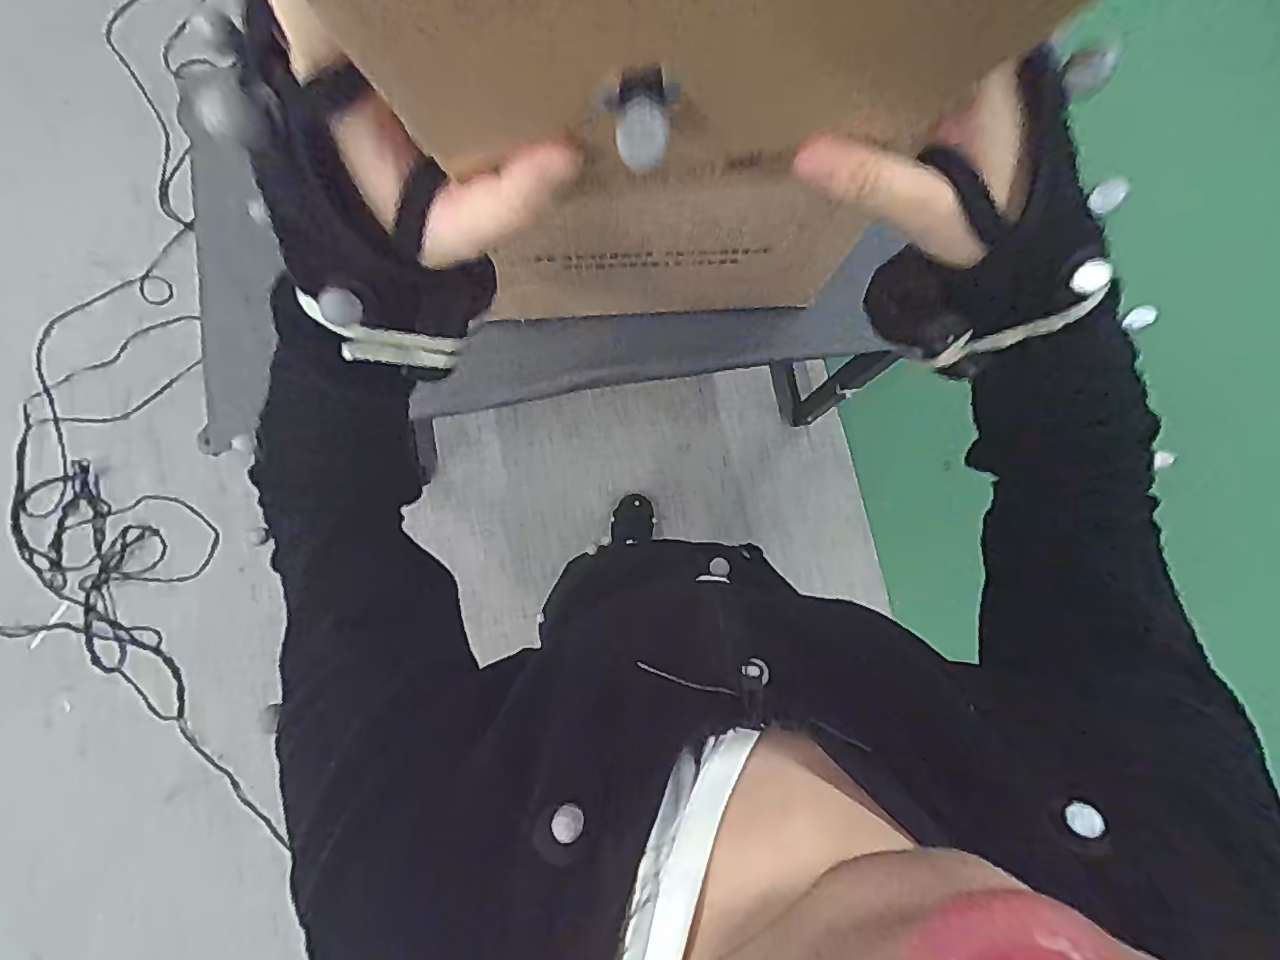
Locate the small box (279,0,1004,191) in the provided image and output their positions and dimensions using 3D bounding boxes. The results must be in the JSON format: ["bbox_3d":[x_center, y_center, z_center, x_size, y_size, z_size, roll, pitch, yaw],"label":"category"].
[{"bbox_3d":[0.005,-0.188,0.131,0.168,0.176,0.179,-7,102,-2],"label":"small box"}]
